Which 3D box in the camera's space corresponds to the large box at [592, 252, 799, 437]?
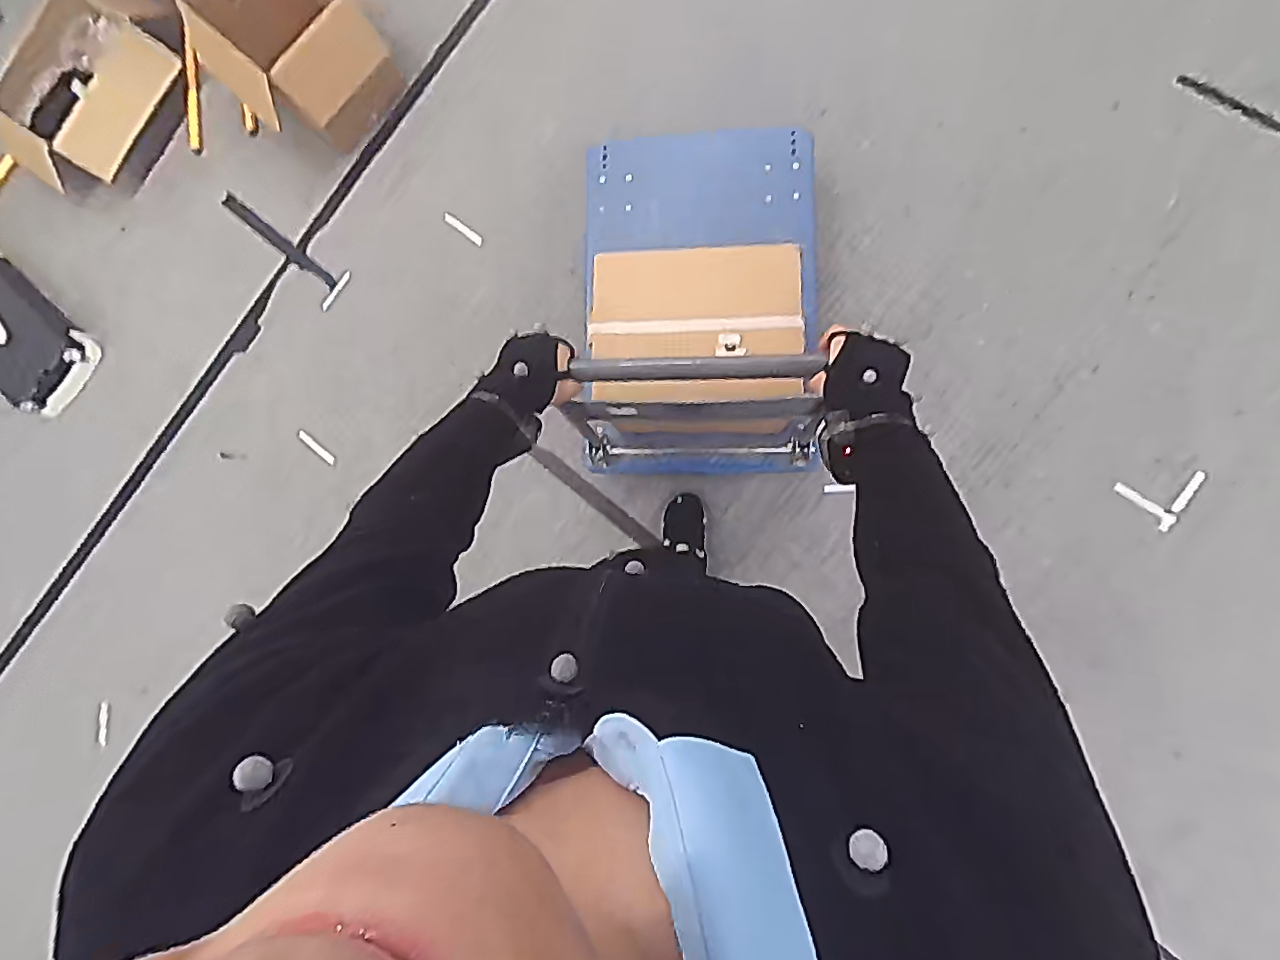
[{"bbox_3d":[0.115,-0.274,1.196,0.408,0.320,0.320,0,86,5],"label":"large box"}]
